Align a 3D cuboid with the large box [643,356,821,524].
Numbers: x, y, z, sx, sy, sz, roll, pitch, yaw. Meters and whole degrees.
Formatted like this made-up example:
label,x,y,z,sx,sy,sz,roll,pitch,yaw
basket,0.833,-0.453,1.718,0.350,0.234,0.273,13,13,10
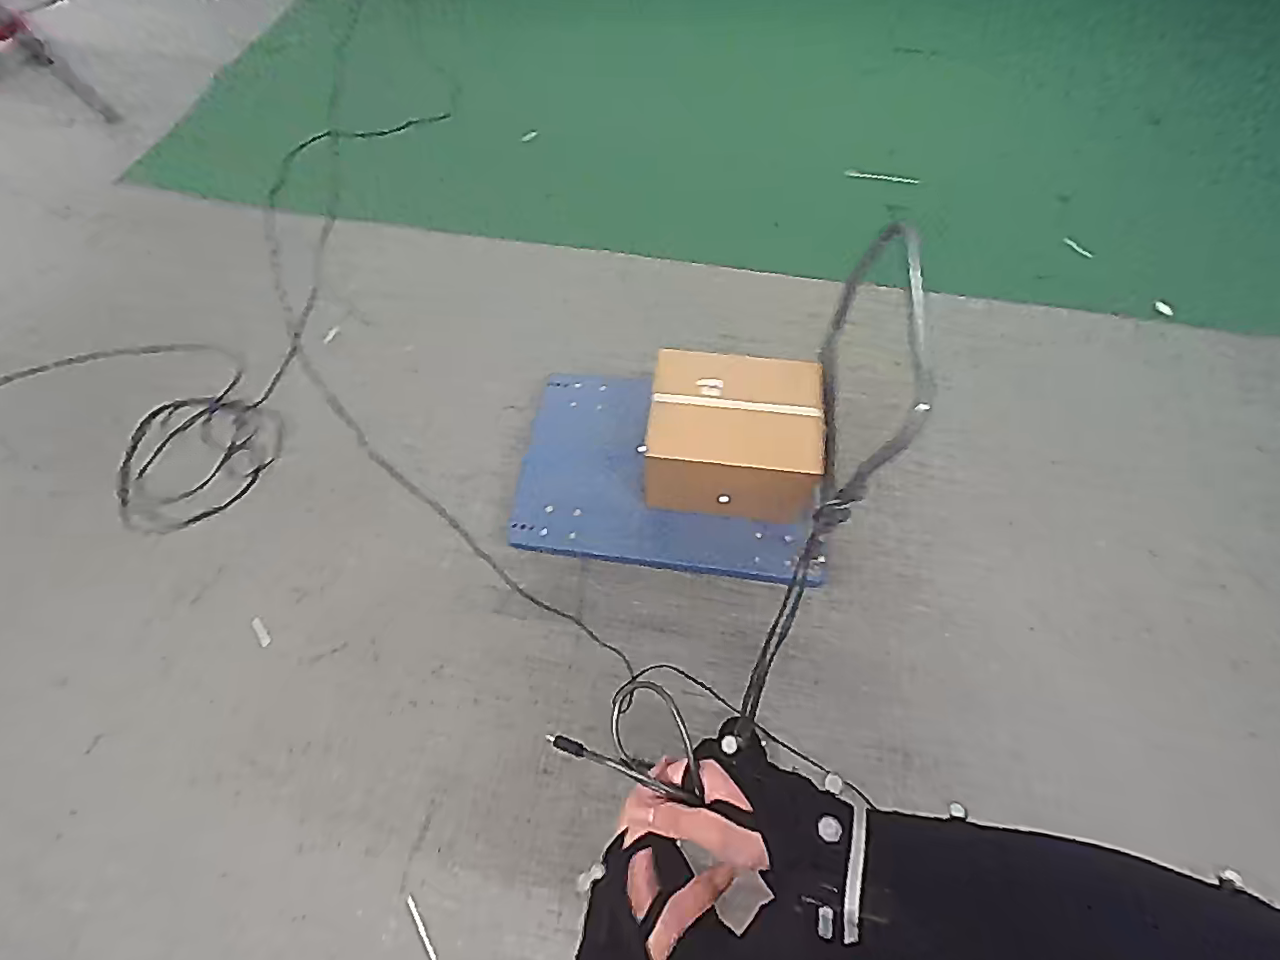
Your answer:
label,x,y,z,sx,sy,sz,roll,pitch,yaw
large box,0.228,-0.093,1.405,0.408,0.320,0.320,6,64,5
